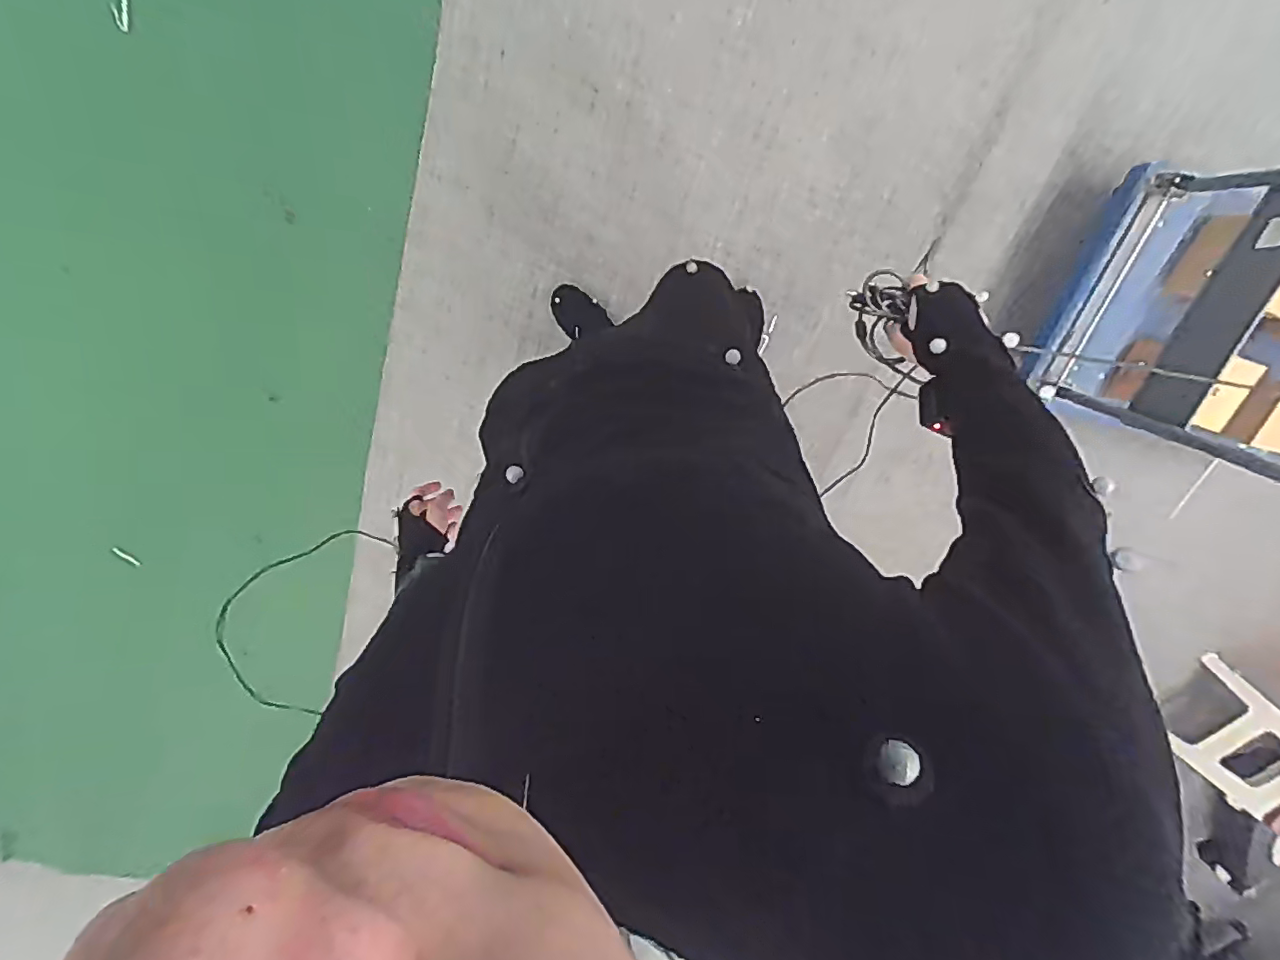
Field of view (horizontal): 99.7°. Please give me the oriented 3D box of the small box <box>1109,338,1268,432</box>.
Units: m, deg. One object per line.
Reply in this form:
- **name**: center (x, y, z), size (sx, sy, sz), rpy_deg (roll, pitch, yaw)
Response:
- **small box**: center (1.331, -0.239, 1.327), size (0.179, 0.176, 0.168), rpy_deg (14, 112, -7)

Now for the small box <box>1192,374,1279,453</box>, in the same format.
- **small box**: center (1.583, -0.171, 1.361), size (0.179, 0.176, 0.168), rpy_deg (12, 112, -6)

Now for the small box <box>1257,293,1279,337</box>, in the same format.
- **small box**: center (1.640, -0.402, 1.262), size (0.179, 0.176, 0.168), rpy_deg (10, 114, -5)
